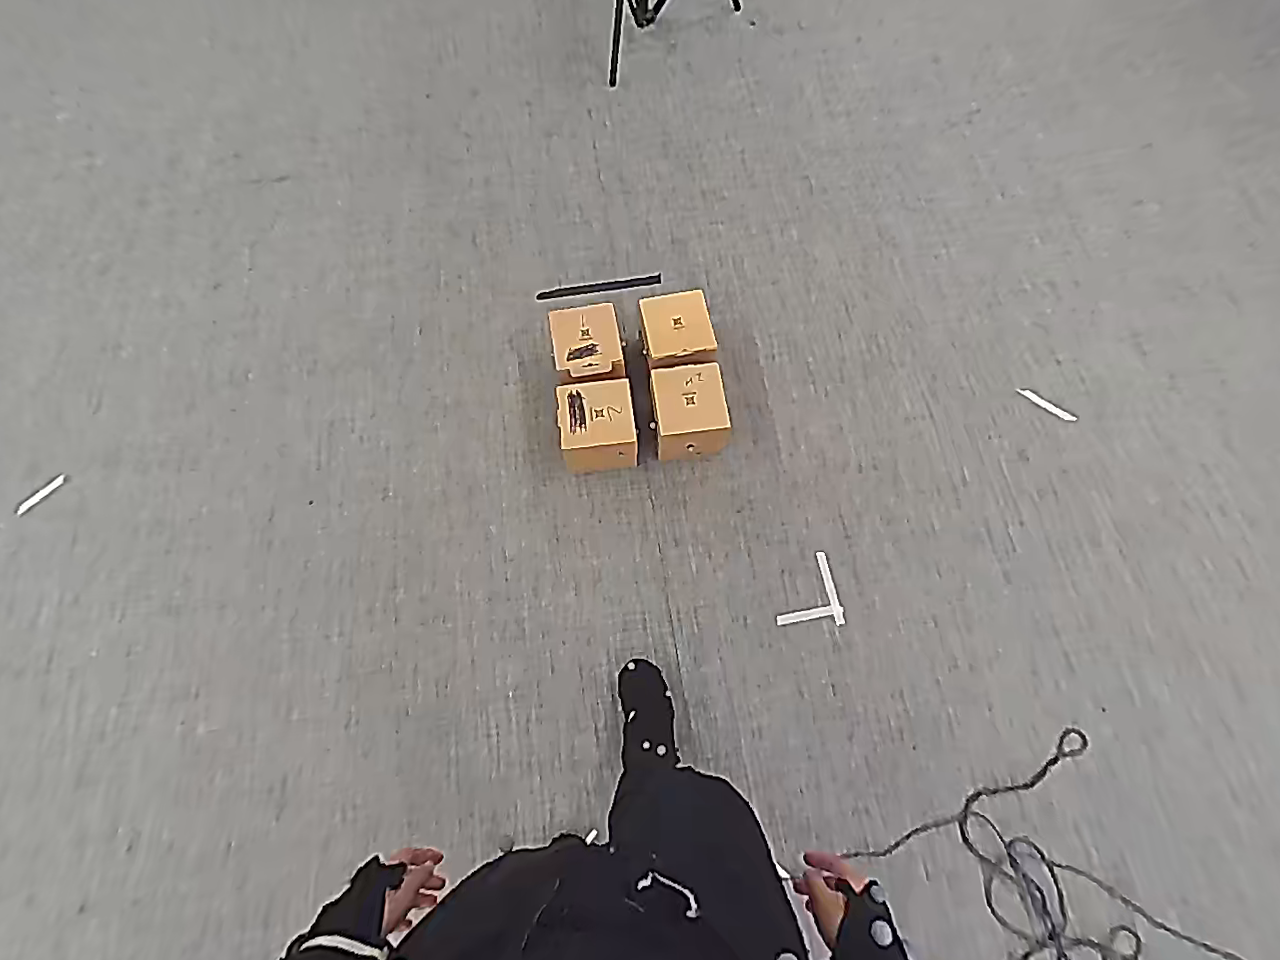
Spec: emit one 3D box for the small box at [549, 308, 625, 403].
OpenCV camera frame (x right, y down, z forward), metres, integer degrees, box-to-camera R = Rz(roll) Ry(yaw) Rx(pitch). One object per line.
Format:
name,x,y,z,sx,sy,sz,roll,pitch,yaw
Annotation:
small box,-0.133,-0.313,1.398,0.168,0.176,0.179,-9,69,-3
